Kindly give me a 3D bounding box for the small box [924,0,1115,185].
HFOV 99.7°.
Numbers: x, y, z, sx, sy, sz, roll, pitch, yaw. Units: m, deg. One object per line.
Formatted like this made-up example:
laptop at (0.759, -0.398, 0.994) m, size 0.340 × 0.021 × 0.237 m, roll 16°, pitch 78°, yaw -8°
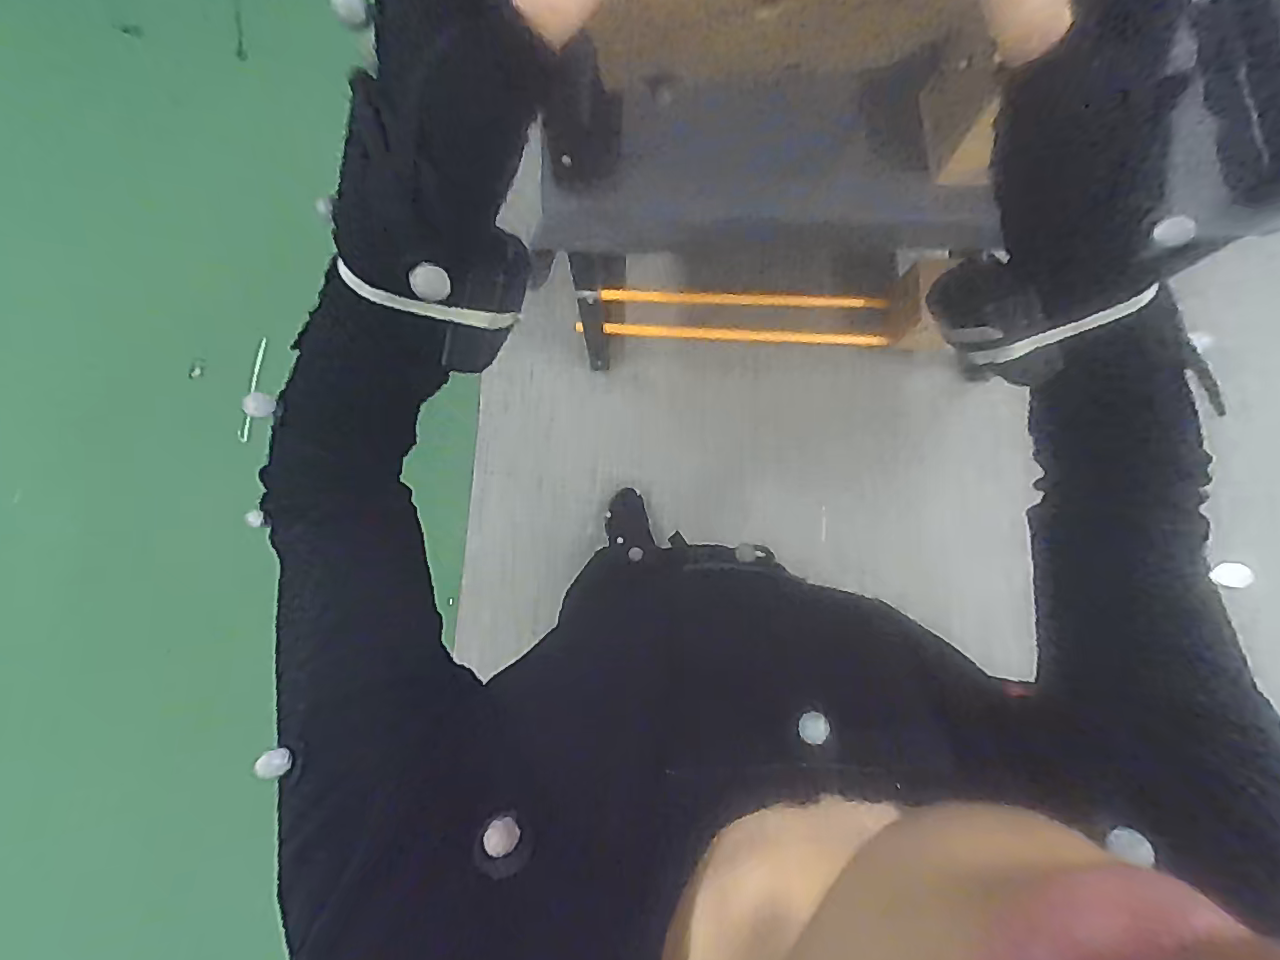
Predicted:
small box at (0.561, -0.589, 0.828) m, size 0.168 × 0.176 × 0.179 m, roll -1°, pitch 78°, yaw 0°
